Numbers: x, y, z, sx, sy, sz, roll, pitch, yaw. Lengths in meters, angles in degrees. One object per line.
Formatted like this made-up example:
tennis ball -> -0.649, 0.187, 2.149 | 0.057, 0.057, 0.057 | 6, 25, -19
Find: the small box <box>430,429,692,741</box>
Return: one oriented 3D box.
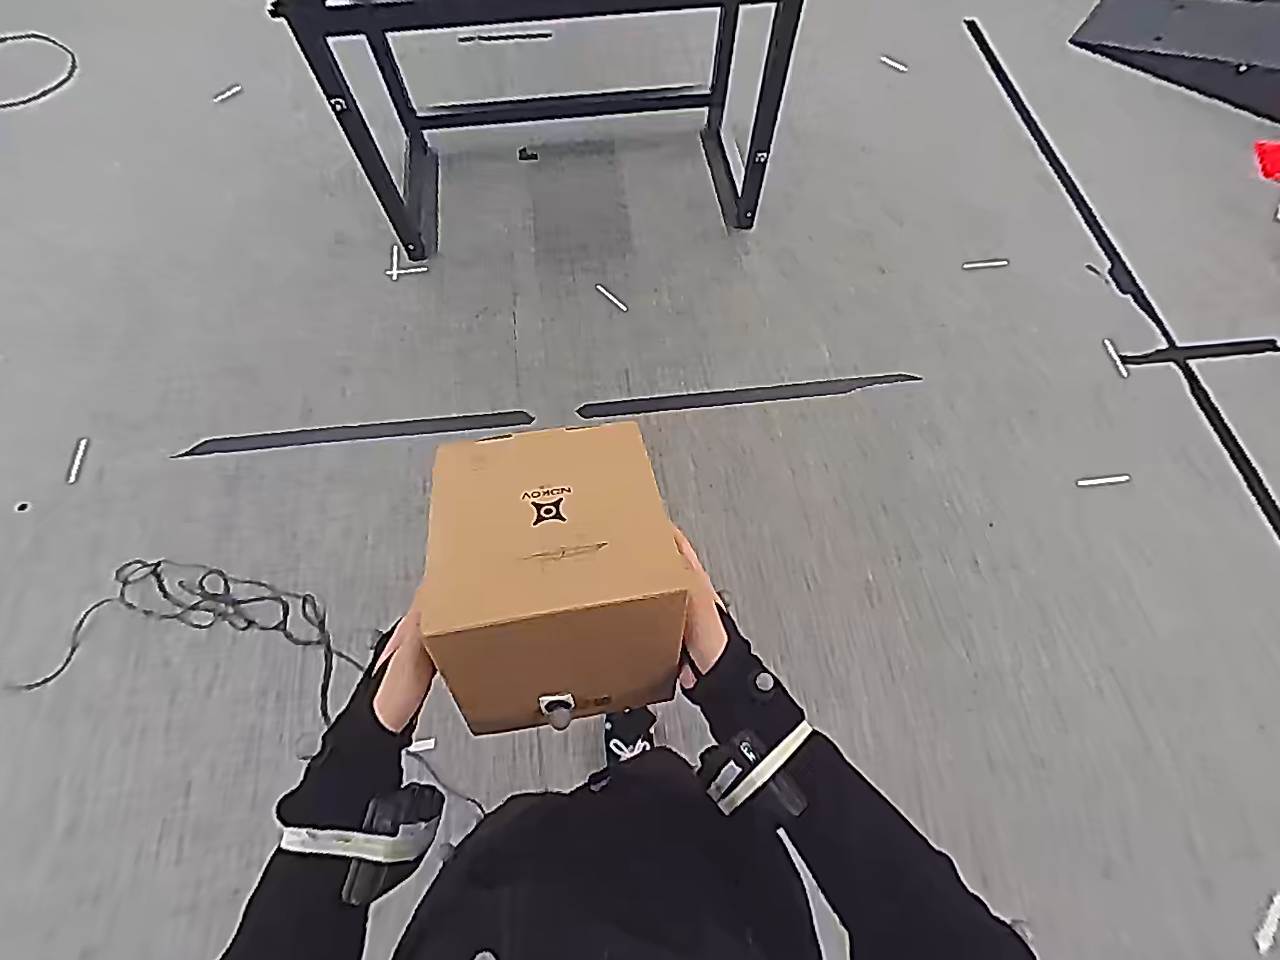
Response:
small box -> -0.064, 0.084, 0.448 | 0.168, 0.176, 0.179 | -9, 45, -9
